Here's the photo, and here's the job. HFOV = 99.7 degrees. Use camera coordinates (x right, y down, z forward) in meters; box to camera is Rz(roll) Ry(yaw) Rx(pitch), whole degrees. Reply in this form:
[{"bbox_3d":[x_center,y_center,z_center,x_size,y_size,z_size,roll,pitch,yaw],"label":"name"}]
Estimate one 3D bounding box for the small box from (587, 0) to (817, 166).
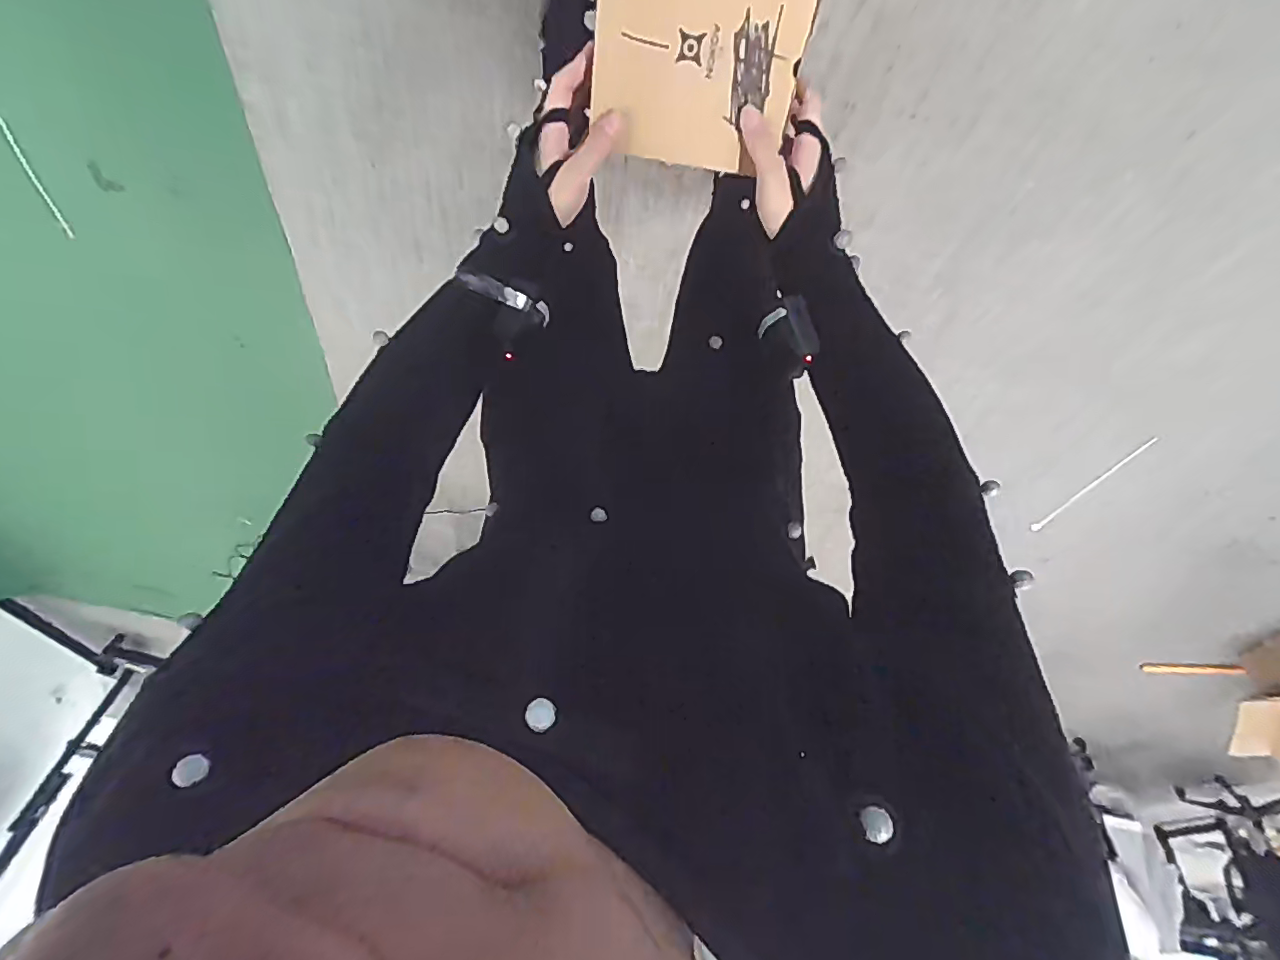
[{"bbox_3d":[0.050,-0.416,0.504,0.179,0.176,0.168,7,130,-5],"label":"small box"}]
